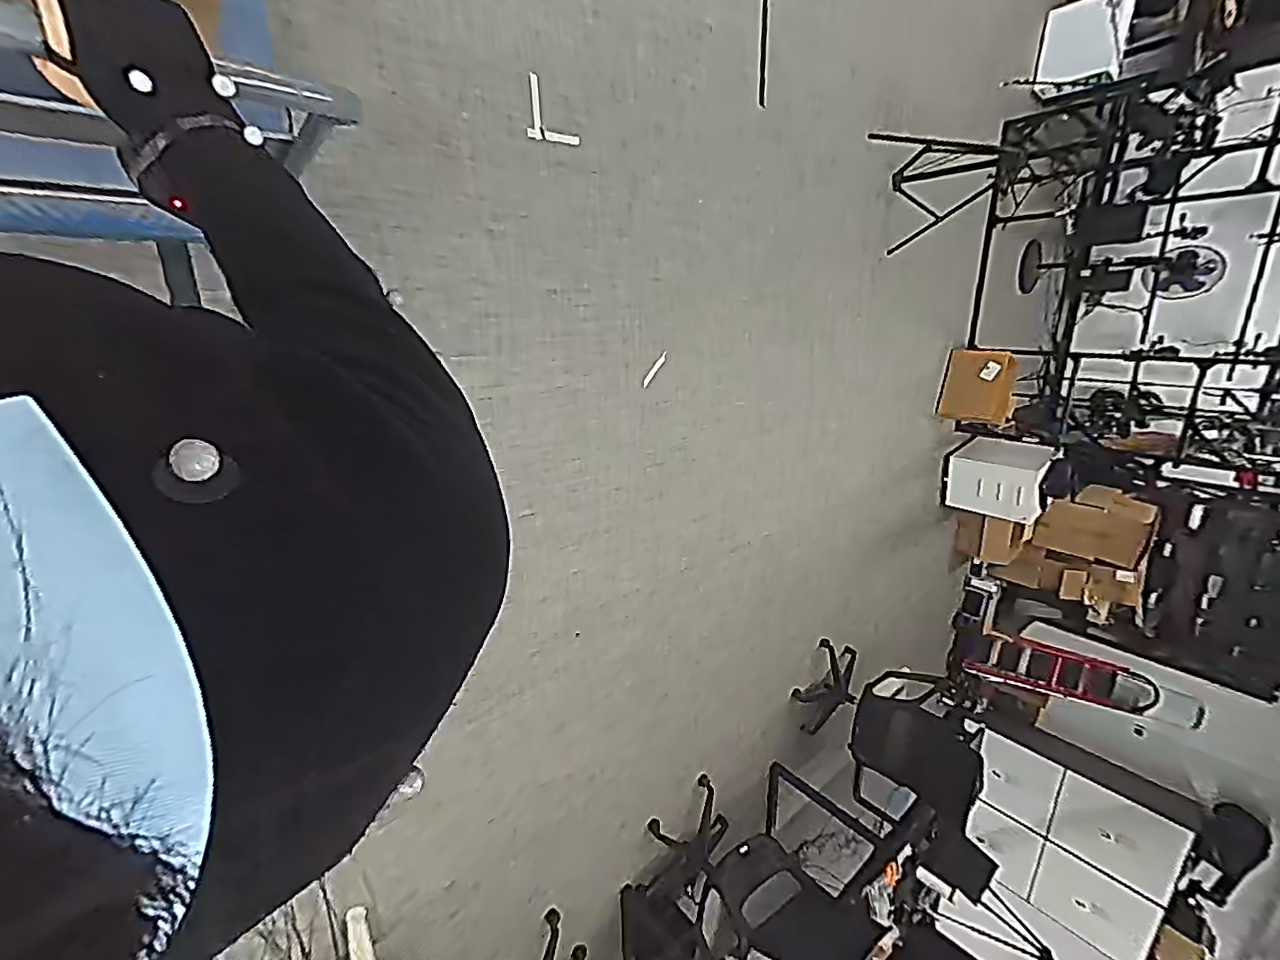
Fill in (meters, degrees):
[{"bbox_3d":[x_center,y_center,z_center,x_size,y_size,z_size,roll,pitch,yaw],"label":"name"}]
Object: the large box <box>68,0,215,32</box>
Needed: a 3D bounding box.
[{"bbox_3d":[-0.793,-0.830,0.649,0.408,0.320,0.320,-12,110,-38],"label":"large box"}]
